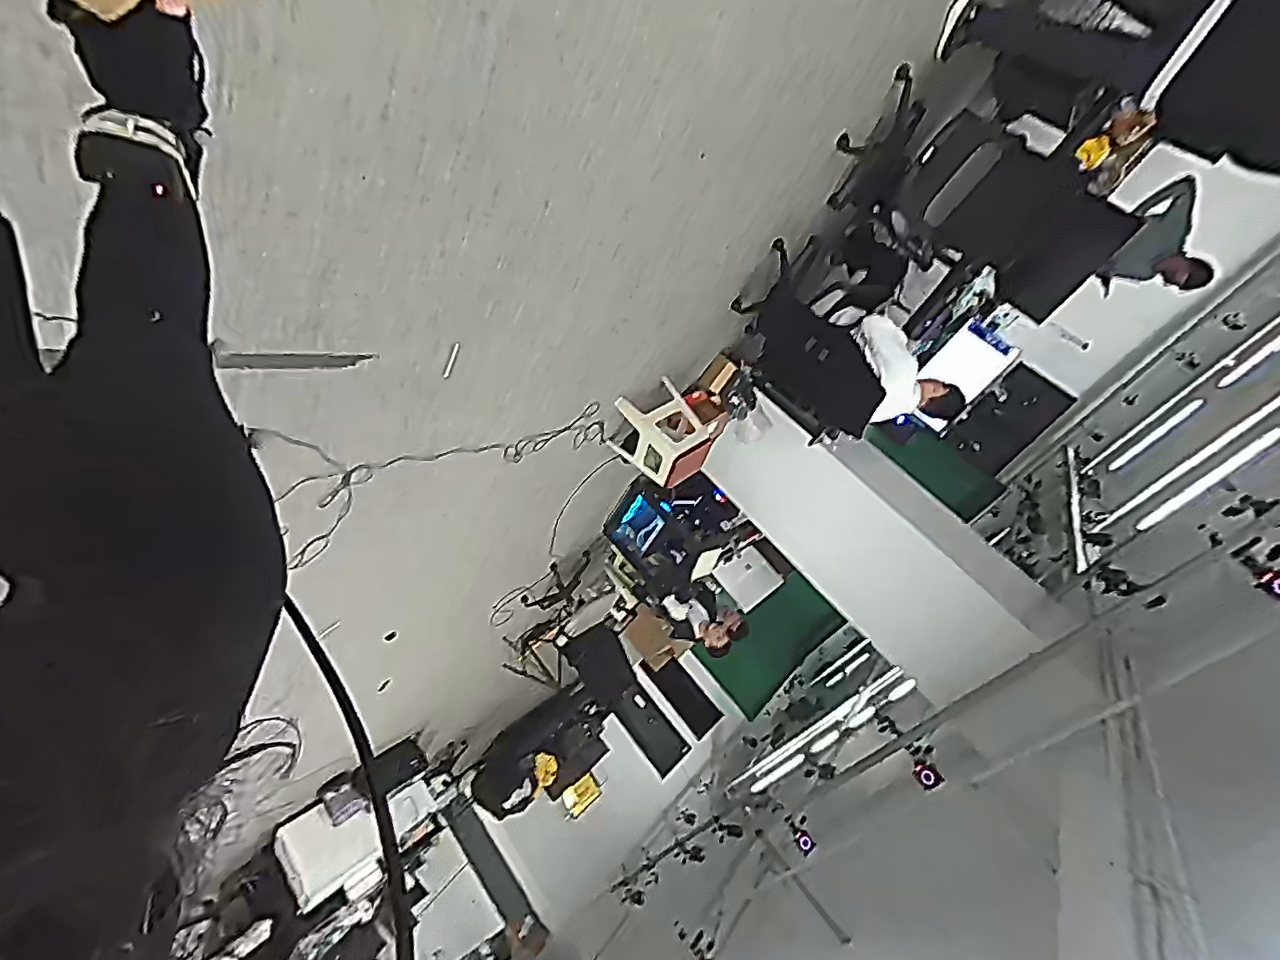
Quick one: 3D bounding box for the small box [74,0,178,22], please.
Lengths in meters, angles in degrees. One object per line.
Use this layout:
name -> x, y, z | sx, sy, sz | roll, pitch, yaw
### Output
small box -> -0.355, -0.438, 0.336 | 0.168, 0.179, 0.176 | -28, 123, -9
